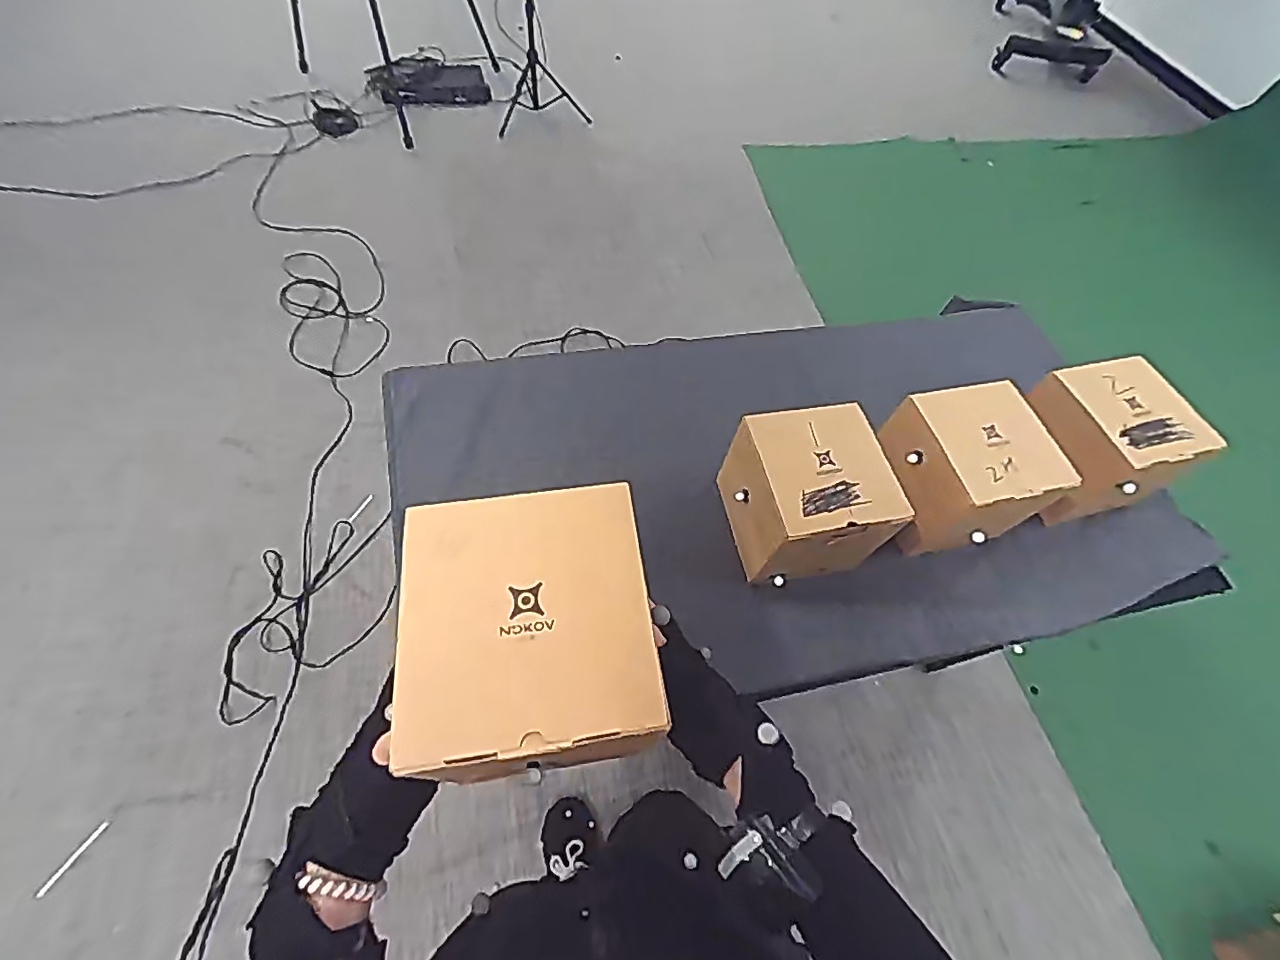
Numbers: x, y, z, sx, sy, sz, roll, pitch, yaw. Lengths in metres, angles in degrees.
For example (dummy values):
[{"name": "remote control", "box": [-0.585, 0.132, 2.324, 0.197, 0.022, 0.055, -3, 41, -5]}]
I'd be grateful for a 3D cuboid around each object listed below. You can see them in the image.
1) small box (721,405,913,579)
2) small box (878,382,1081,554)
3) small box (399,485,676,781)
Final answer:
[{"name": "small box", "box": [0.223, 0.024, 0.735, 0.168, 0.176, 0.179, -8, 60, -11]}, {"name": "small box", "box": [0.458, -0.014, 0.782, 0.168, 0.176, 0.179, -10, 62, -11]}, {"name": "small box", "box": [-0.075, 0.125, 0.429, 0.168, 0.176, 0.179, -7, 60, -7]}]
